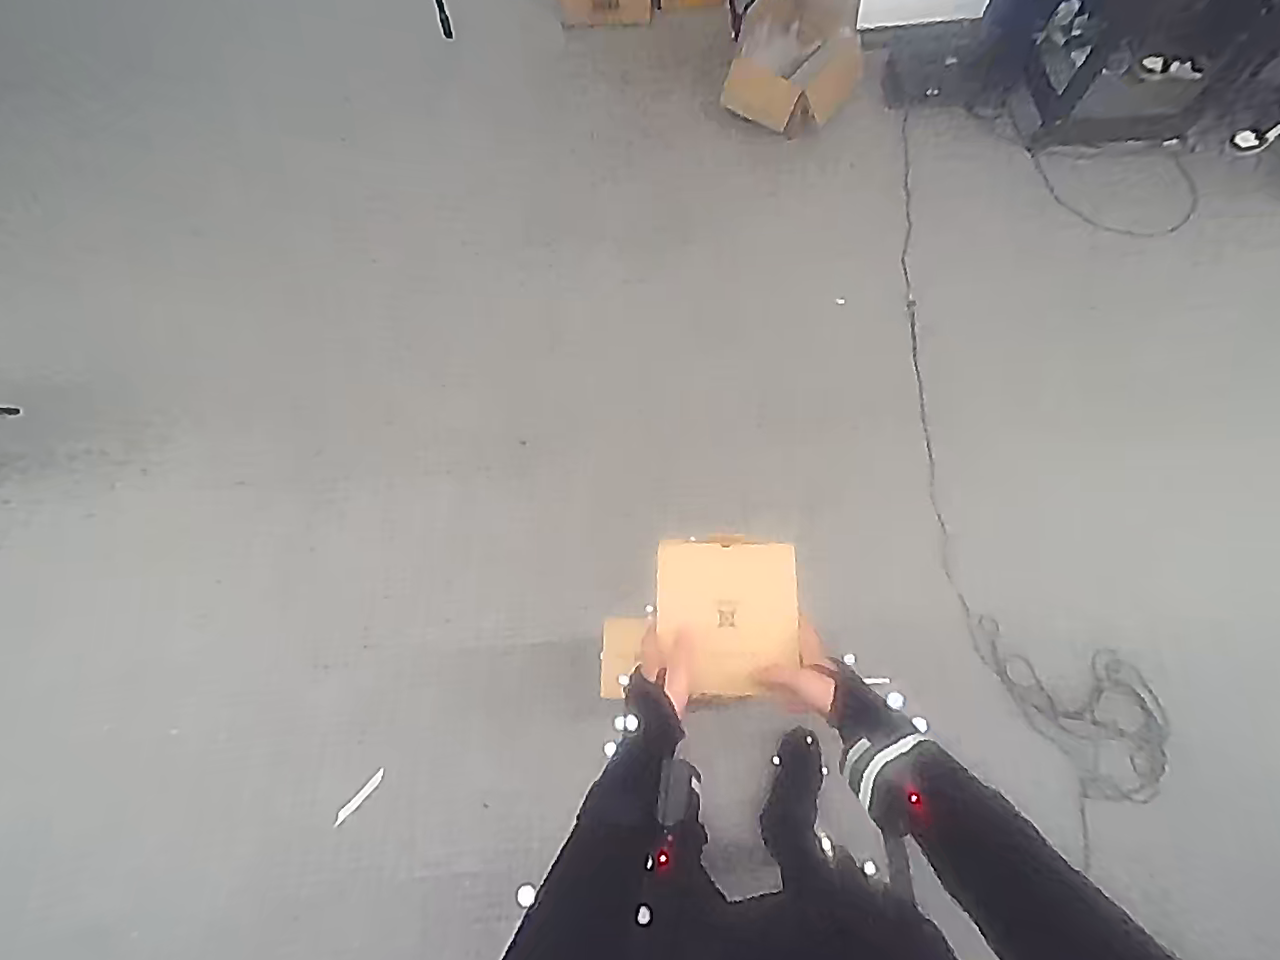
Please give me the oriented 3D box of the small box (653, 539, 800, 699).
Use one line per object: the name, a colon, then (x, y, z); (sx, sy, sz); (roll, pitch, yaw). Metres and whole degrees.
small box: (0.103, 0.179, 0.702); (0.168, 0.176, 0.179); (1, 75, 2)
